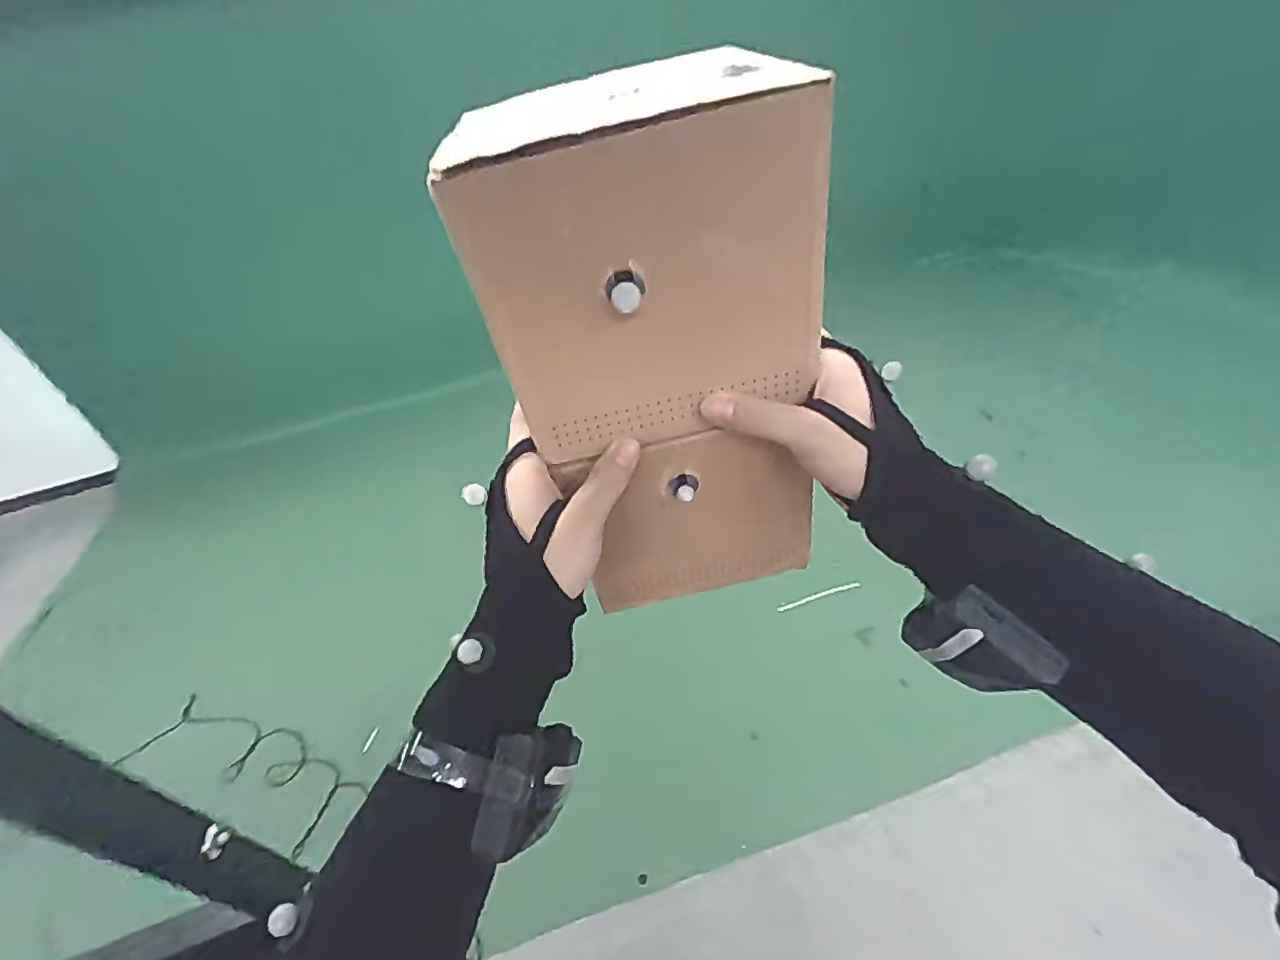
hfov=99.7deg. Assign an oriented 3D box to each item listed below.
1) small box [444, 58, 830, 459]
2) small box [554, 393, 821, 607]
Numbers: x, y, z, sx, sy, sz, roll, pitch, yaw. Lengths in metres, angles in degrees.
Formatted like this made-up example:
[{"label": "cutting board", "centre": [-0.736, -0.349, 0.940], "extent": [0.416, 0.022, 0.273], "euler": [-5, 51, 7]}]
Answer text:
[{"label": "small box", "centre": [0.005, -0.135, 0.341], "extent": [0.179, 0.176, 0.168], "euler": [-14, 43, 2]}, {"label": "small box", "centre": [0.037, -0.016, 0.449], "extent": [0.179, 0.176, 0.168], "euler": [-13, 42, 2]}]
